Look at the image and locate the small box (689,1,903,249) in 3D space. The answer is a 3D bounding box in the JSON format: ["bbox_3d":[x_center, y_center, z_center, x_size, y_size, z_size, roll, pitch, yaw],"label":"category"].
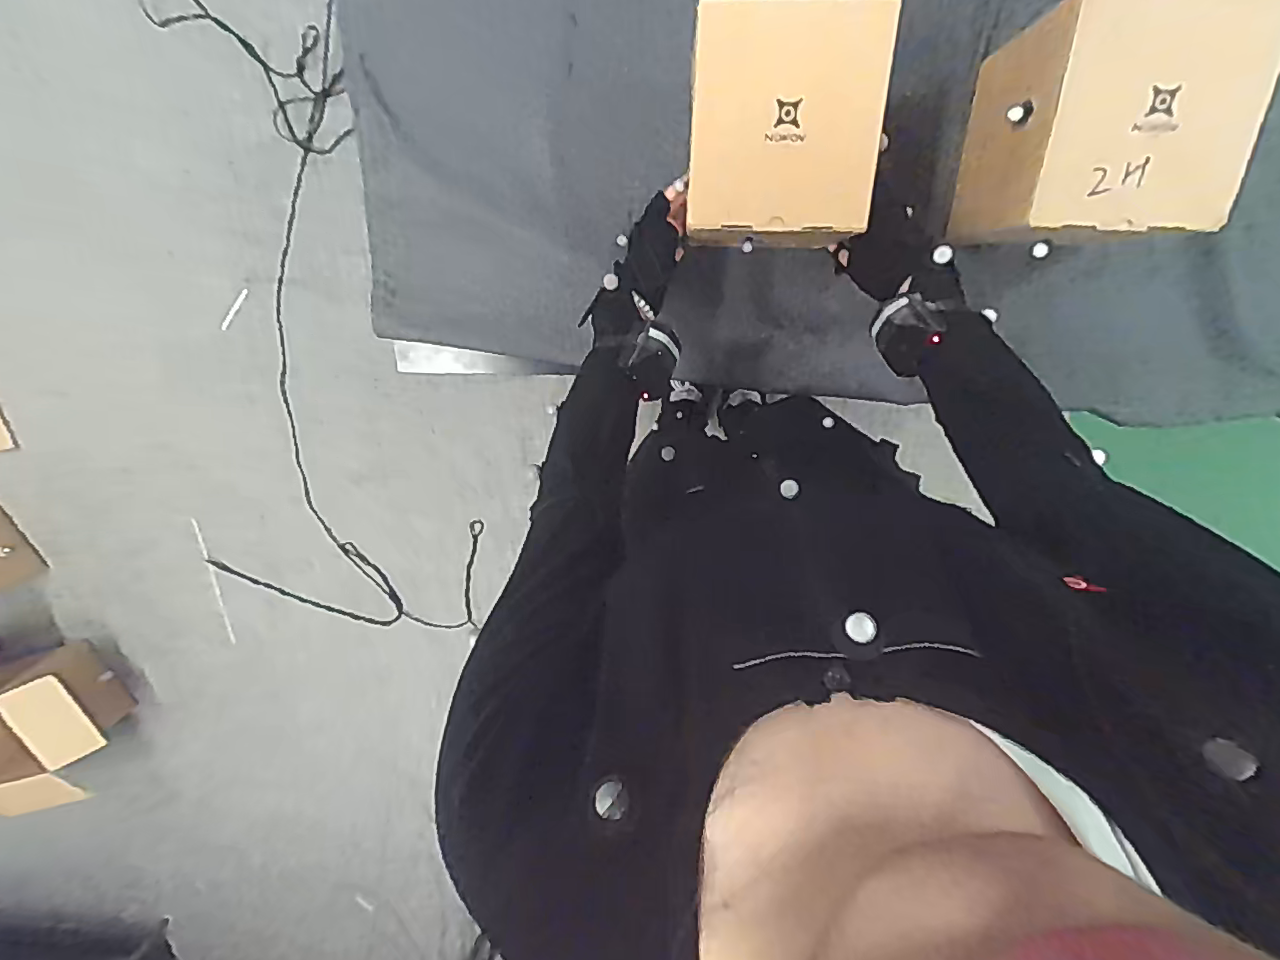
[{"bbox_3d":[0.138,-0.337,0.548,0.168,0.176,0.179,2,110,3],"label":"small box"}]

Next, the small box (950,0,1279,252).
[{"bbox_3d":[0.435,-0.327,0.527,0.168,0.176,0.179,3,109,4],"label":"small box"}]
